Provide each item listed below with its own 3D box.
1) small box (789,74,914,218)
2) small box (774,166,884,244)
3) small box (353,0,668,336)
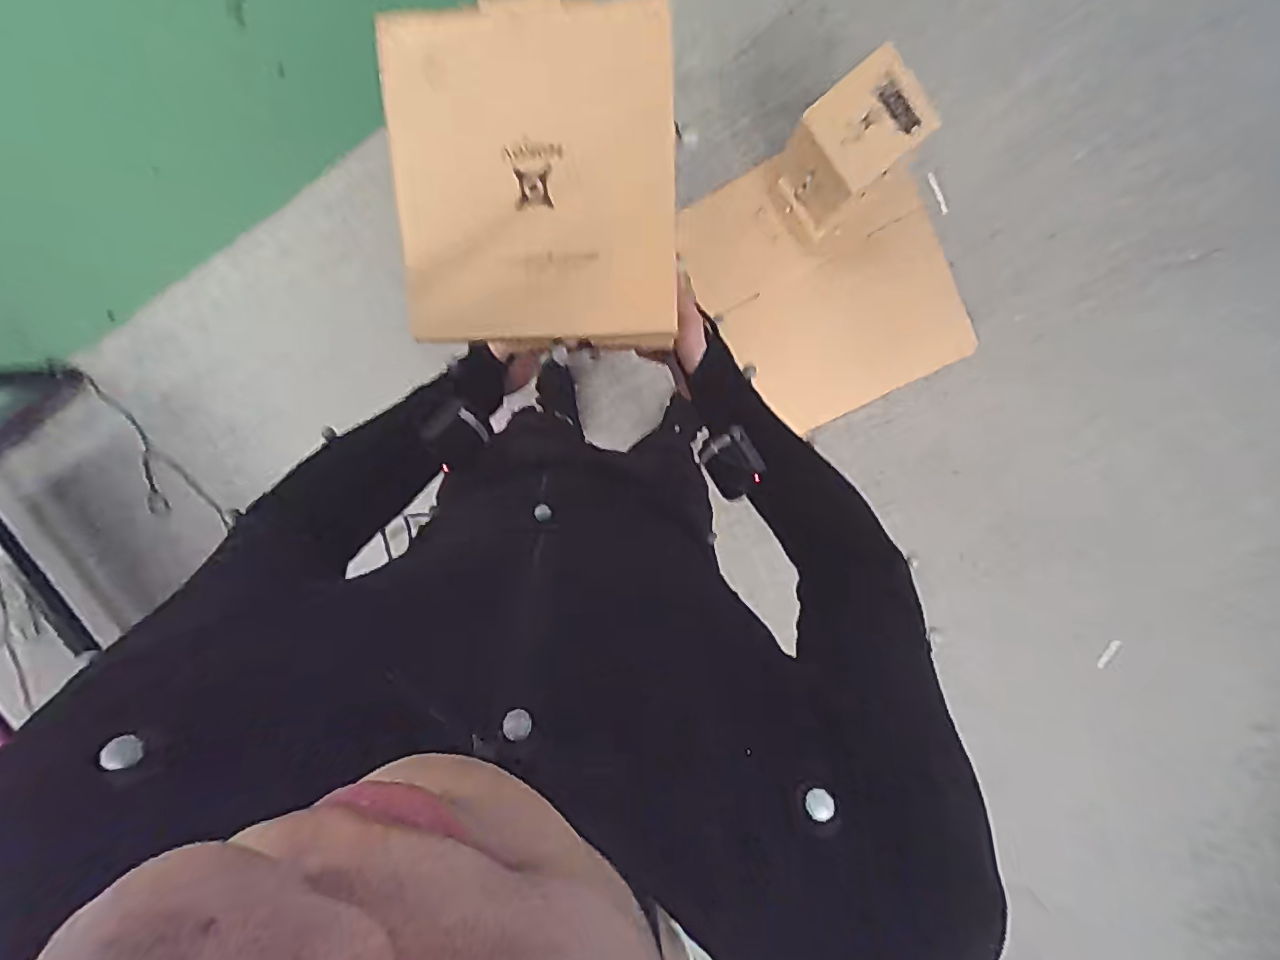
[{"bbox_3d":[0.432,-0.689,1.142,0.179,0.176,0.168,-33,99,12],"label":"small box"},{"bbox_3d":[0.446,-0.705,1.308,0.179,0.176,0.168,-33,98,13],"label":"small box"},{"bbox_3d":[-0.066,-0.195,0.380,0.168,0.176,0.179,-1,105,4],"label":"small box"}]
